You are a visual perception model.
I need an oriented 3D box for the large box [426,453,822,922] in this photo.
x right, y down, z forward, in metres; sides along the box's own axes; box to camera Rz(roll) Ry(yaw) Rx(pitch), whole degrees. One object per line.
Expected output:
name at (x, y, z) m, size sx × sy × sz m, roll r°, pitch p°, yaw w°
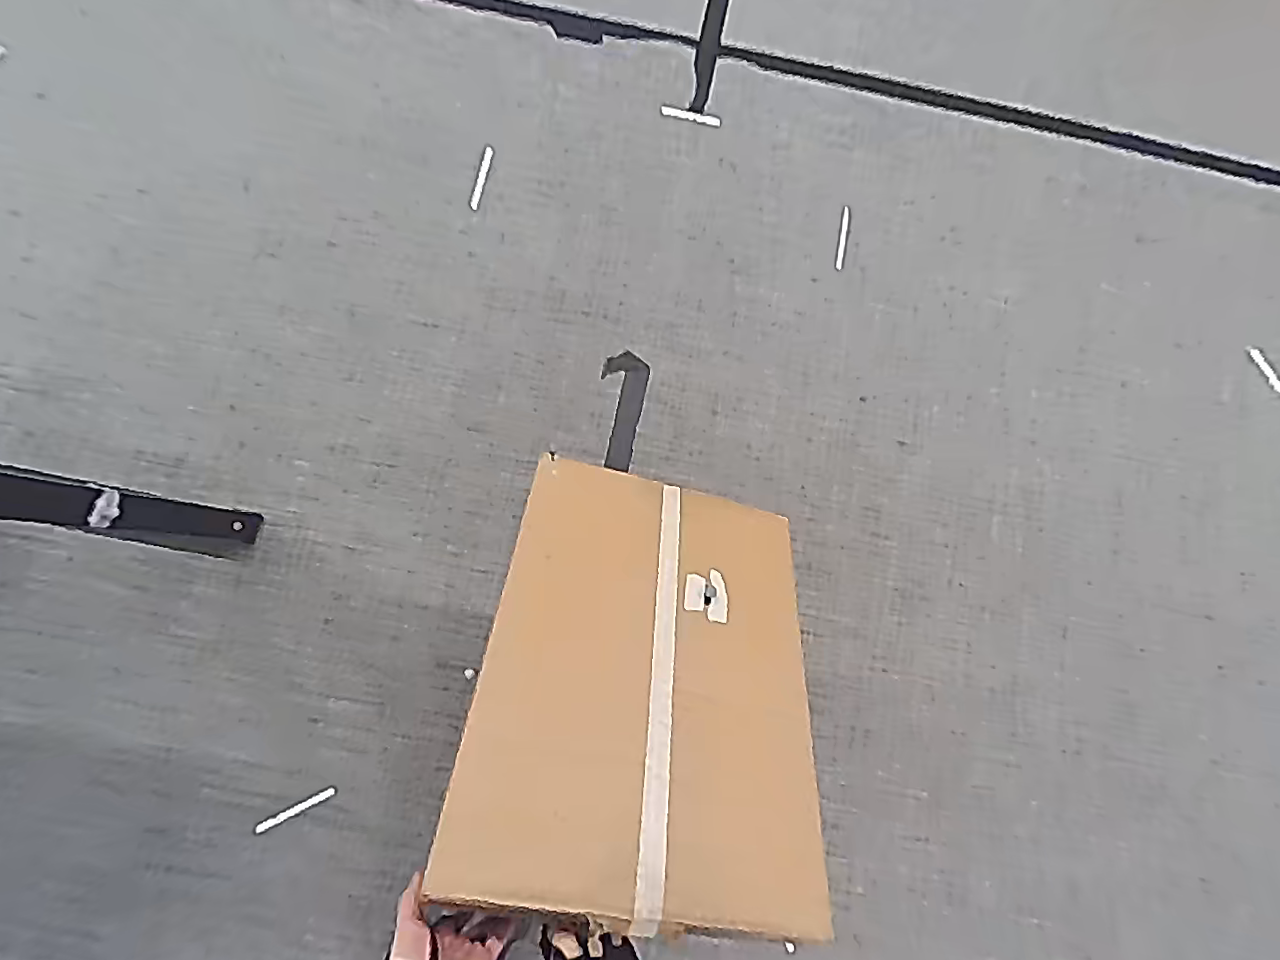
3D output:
large box at (-0.033, 0.246, 0.627) m, size 0.320 × 0.320 × 0.408 m, roll 16°, pitch 48°, yaw -11°
